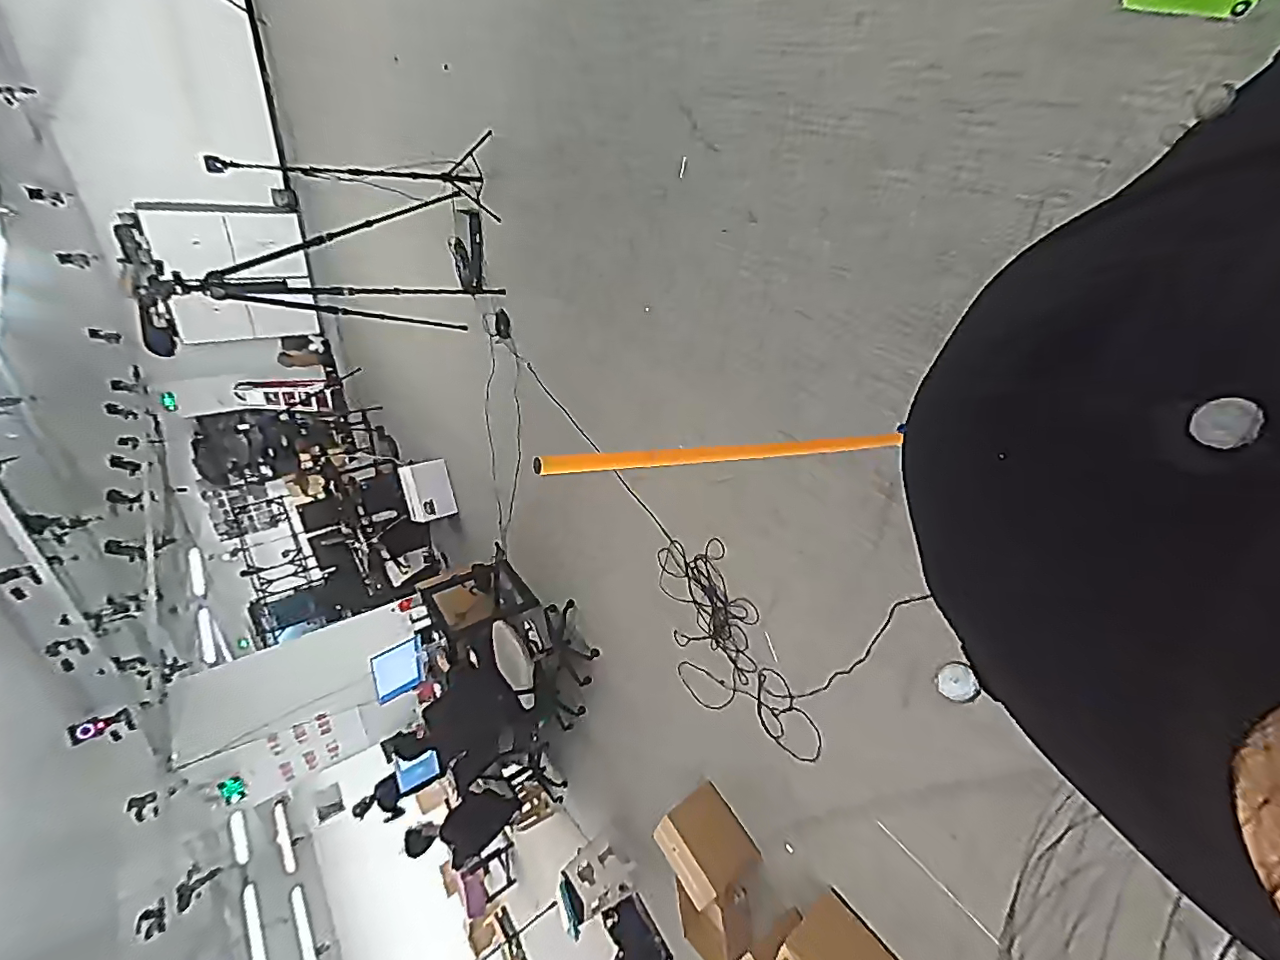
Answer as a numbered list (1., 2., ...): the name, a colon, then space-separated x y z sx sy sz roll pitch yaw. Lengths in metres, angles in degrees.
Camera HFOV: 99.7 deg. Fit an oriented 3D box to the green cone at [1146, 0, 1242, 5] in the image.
1. green cone: 0.836 -0.882 0.802 0.202 0.368 0.200 45 138 35
